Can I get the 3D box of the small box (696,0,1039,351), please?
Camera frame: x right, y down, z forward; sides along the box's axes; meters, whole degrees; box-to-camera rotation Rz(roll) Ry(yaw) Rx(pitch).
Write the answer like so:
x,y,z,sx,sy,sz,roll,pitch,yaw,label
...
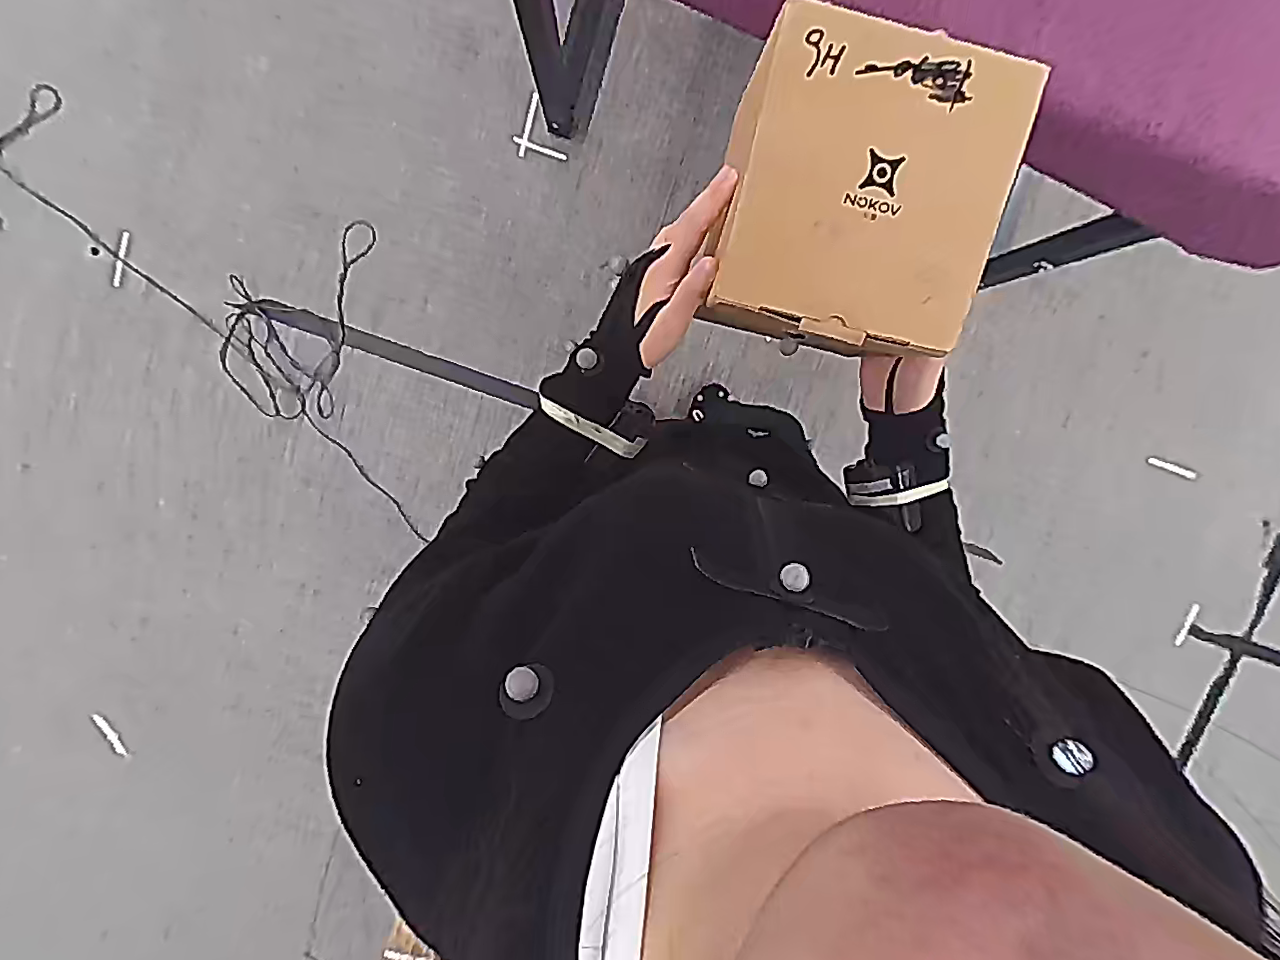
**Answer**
x,y,z,sx,sy,sz,roll,pitch,yaw,label
0.145,-0.205,0.419,0.168,0.176,0.179,12,103,-4,small box
